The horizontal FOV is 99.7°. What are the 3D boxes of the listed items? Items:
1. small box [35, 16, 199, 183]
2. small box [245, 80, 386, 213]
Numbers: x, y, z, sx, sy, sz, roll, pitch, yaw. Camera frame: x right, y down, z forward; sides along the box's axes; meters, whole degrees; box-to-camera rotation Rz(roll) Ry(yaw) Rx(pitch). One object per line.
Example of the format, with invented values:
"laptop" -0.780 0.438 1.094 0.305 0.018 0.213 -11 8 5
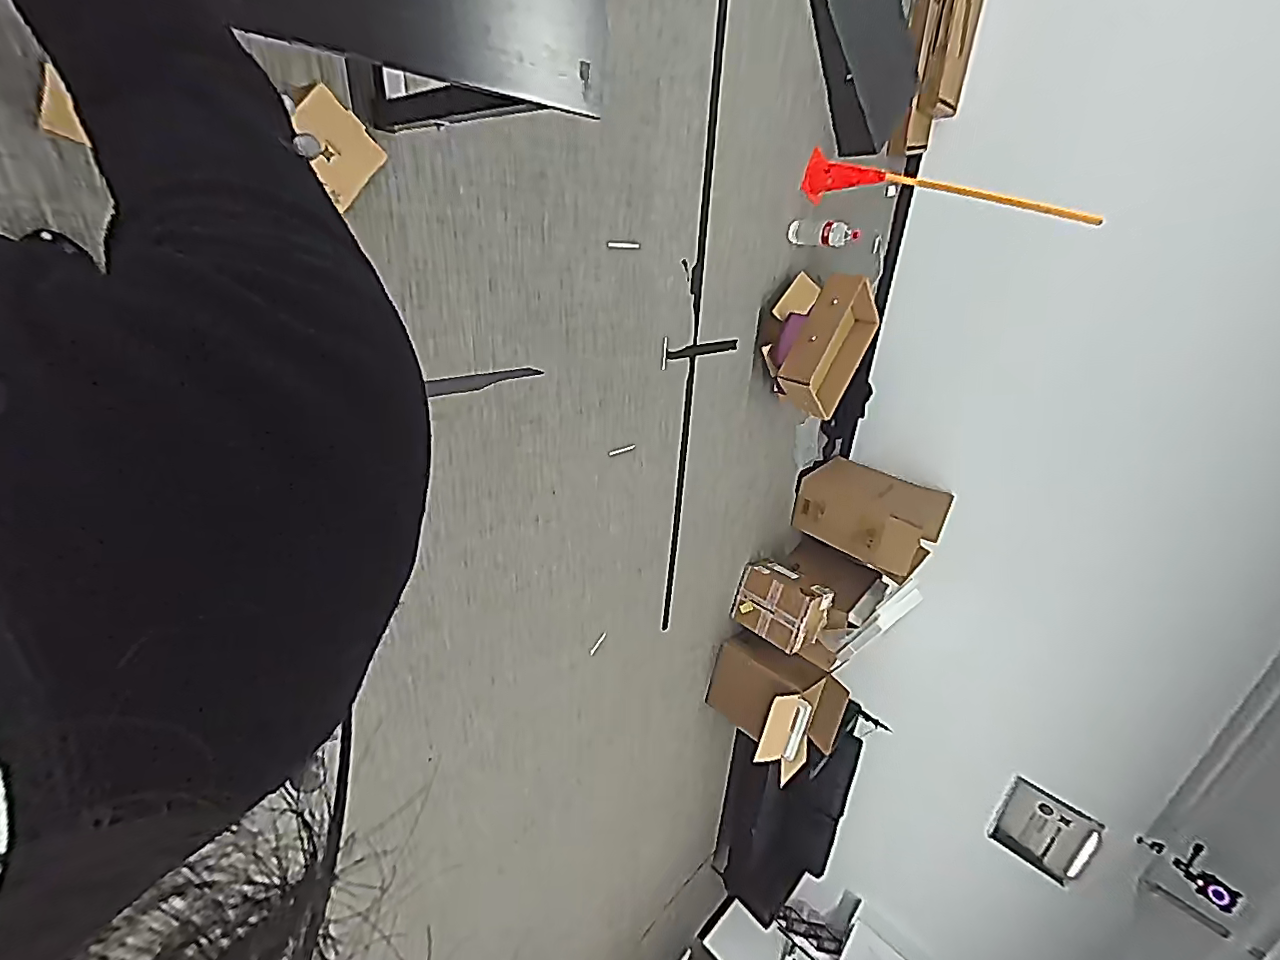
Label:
"small box" -0.896 -0.635 0.926 0.179 0.176 0.168 7 104 -50
"small box" -0.684 -0.694 1.136 0.179 0.176 0.168 -58 141 -9
